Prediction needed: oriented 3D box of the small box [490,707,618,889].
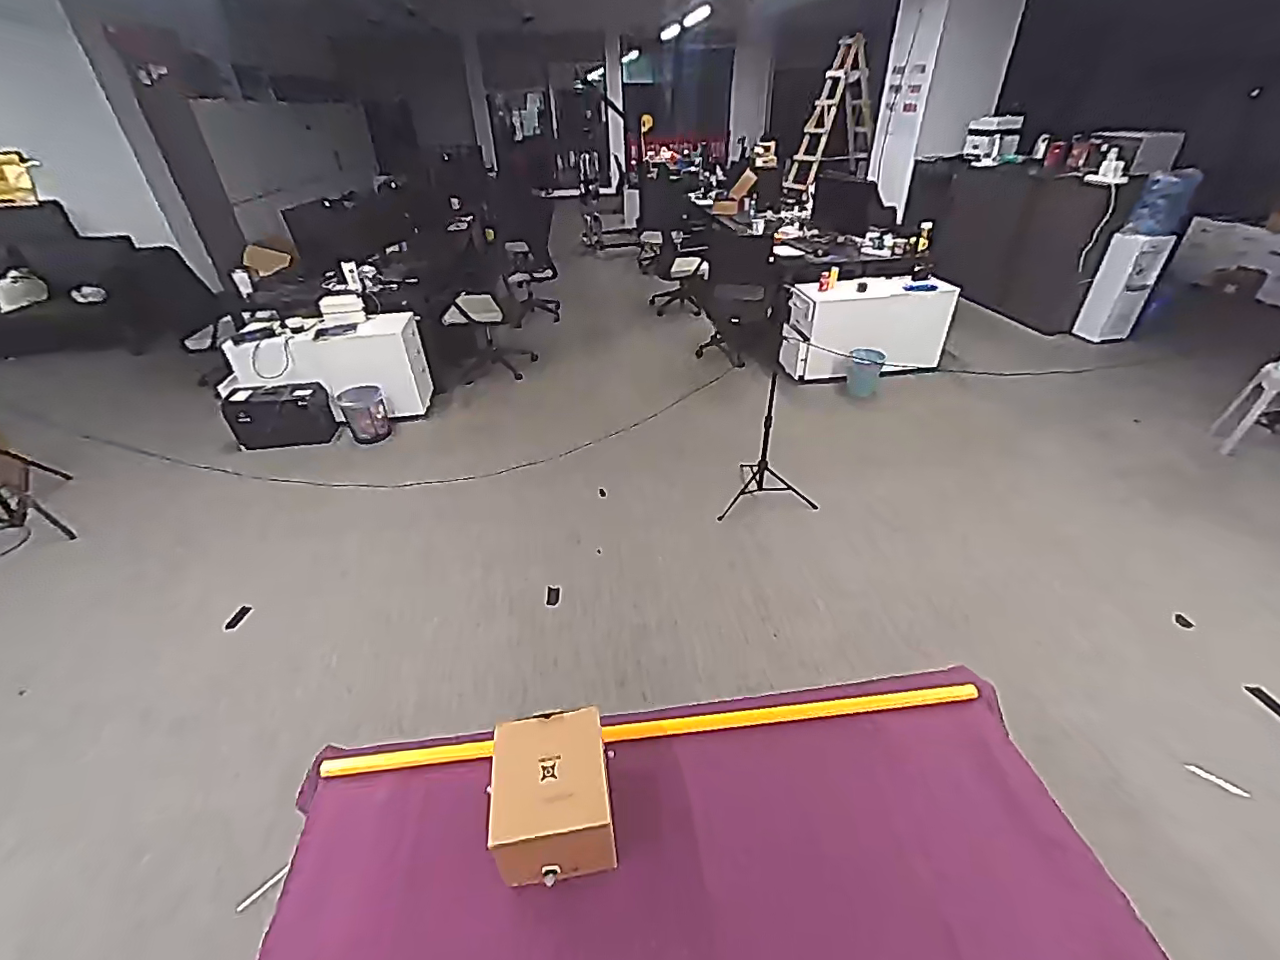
[{"bbox_3d":[-0.127,0.485,0.833,0.168,0.176,0.179,-7,36,-6],"label":"small box"}]
